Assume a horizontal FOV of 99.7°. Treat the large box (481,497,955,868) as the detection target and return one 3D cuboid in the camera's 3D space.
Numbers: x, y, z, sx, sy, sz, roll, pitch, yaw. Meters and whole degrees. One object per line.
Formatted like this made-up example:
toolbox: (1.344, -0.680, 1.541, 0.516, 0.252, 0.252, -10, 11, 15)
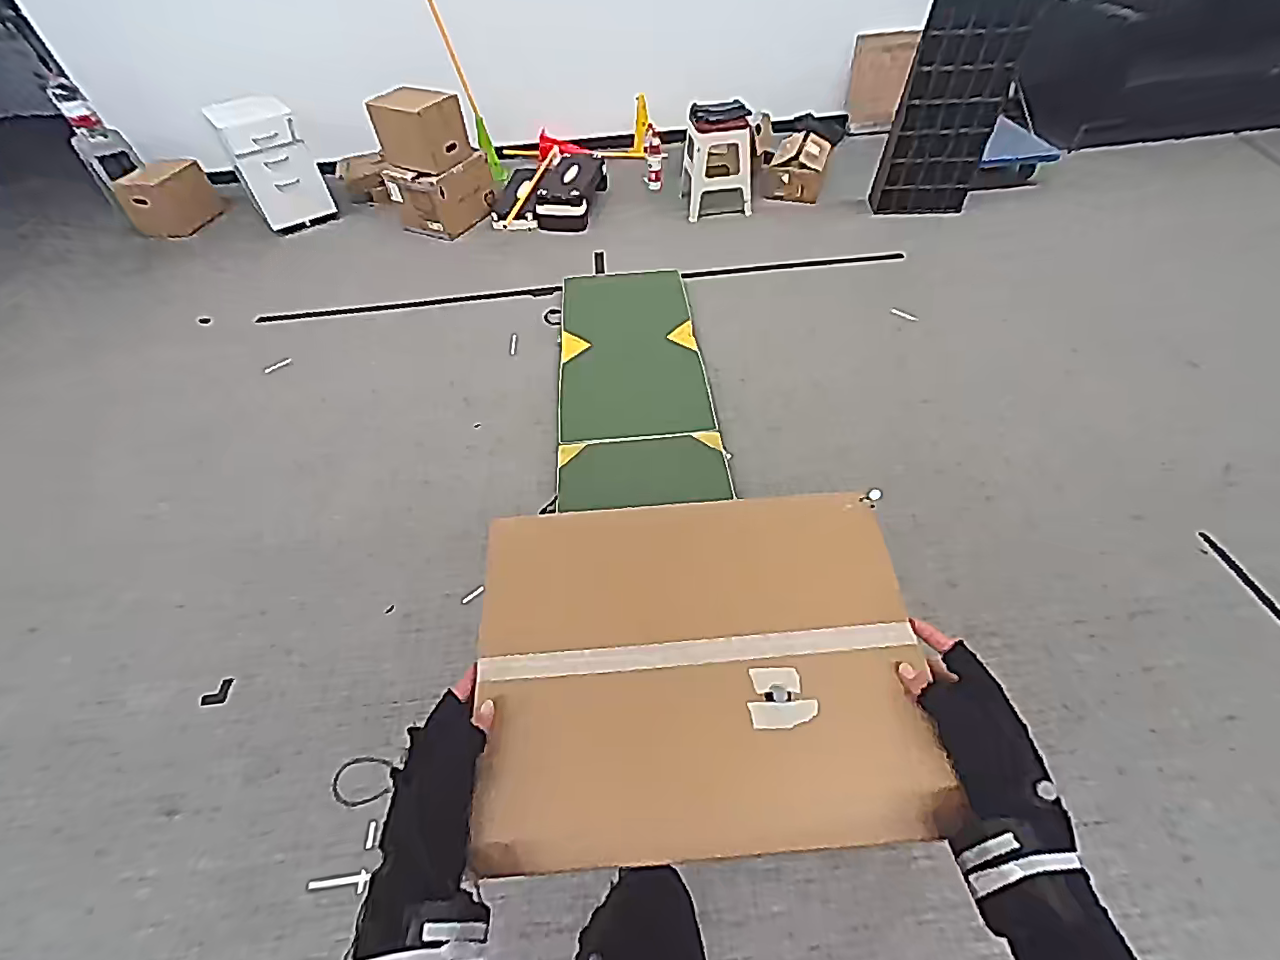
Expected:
large box: (0.055, 0.243, 0.645, 0.408, 0.320, 0.320, -4, 59, -1)
